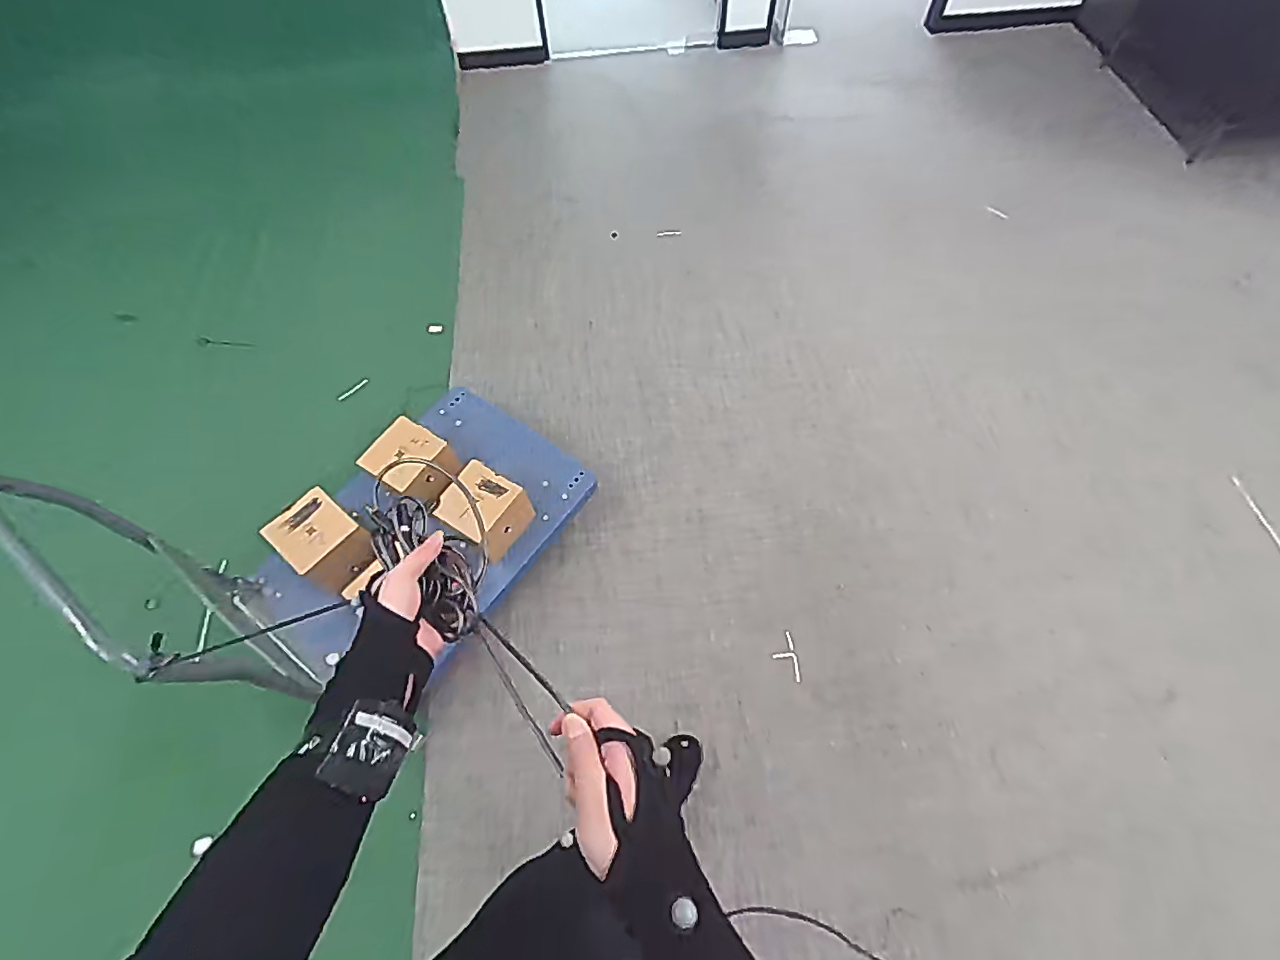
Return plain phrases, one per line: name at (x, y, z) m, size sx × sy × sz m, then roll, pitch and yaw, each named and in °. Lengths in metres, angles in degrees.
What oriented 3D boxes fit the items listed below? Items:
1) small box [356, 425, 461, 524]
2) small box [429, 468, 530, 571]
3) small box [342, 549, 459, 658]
small box at (-0.618, -0.009, 1.472) m, size 0.168 × 0.176 × 0.179 m, roll 29°, pitch 66°, yaw 15°
small box at (-0.405, 0.107, 1.406) m, size 0.168 × 0.176 × 0.179 m, roll 29°, pitch 67°, yaw 16°
small box at (-0.564, 0.302, 1.308) m, size 0.168 × 0.176 × 0.179 m, roll 34°, pitch 68°, yaw 17°
